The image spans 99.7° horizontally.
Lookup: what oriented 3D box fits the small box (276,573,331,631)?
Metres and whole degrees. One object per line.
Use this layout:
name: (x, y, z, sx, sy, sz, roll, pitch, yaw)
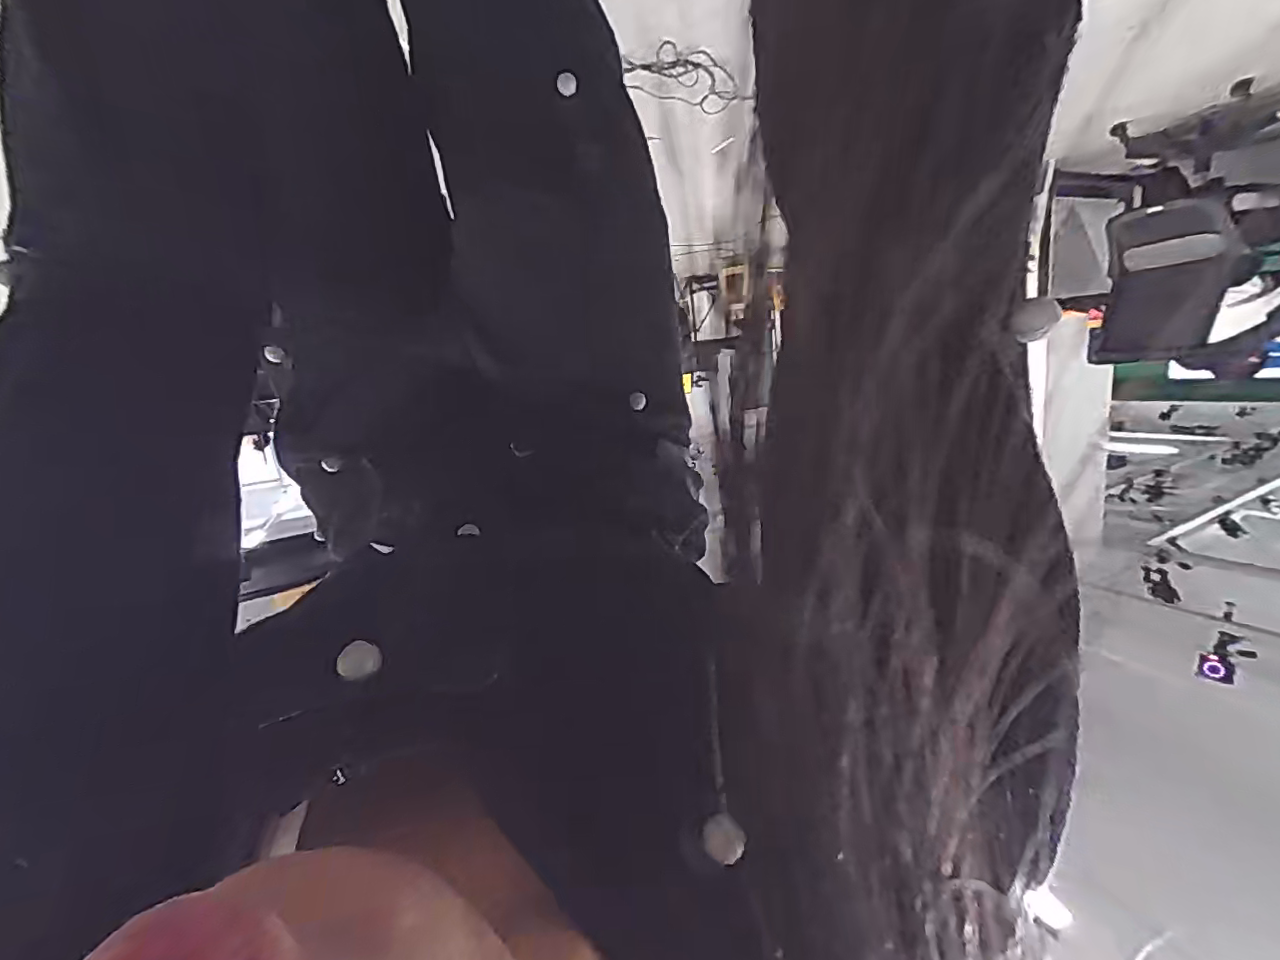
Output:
small box: (-1.432, 0.510, 2.302, 0.168, 0.176, 0.179, -14, -165, -30)
